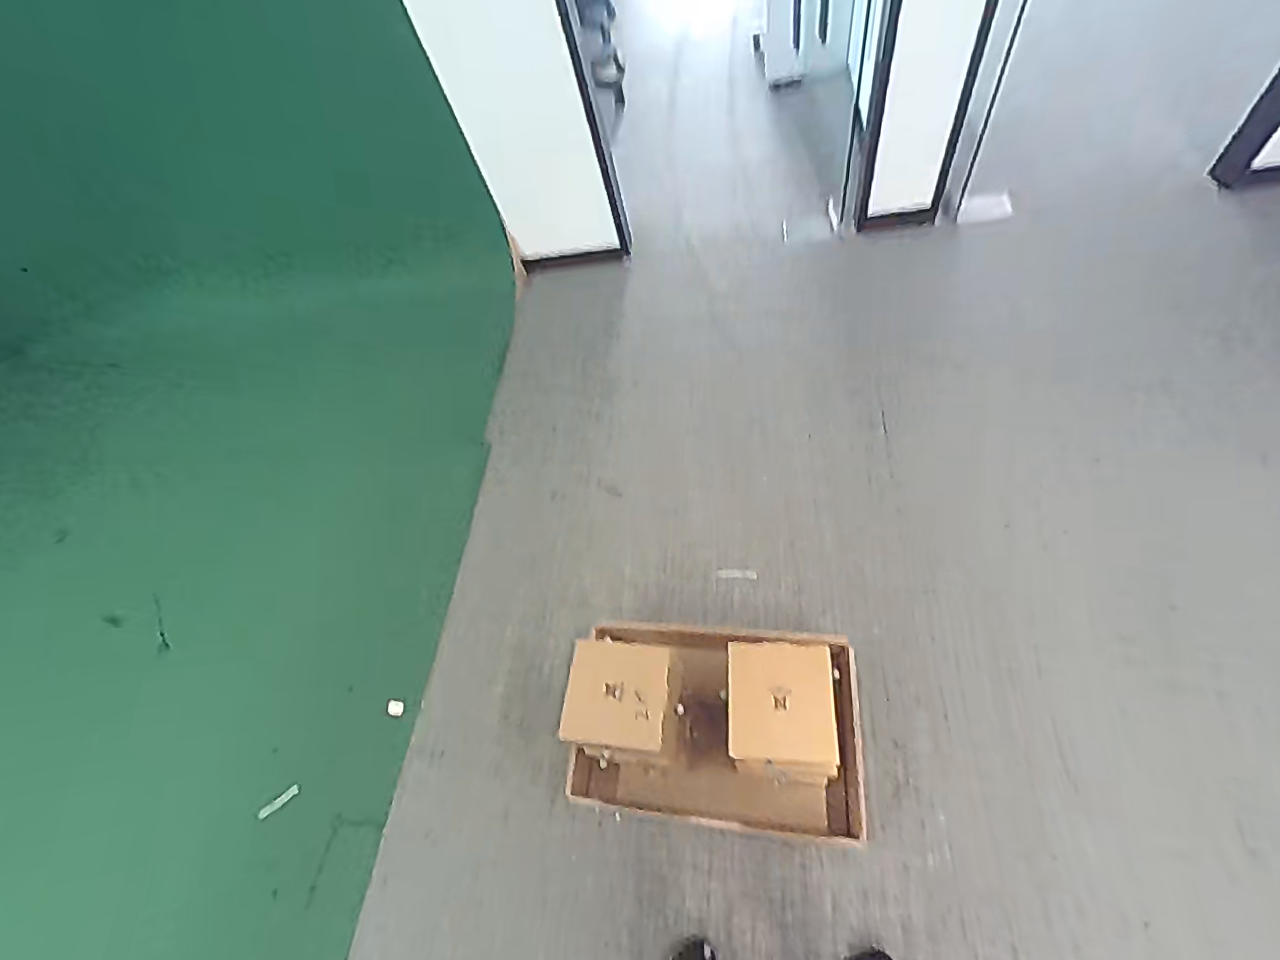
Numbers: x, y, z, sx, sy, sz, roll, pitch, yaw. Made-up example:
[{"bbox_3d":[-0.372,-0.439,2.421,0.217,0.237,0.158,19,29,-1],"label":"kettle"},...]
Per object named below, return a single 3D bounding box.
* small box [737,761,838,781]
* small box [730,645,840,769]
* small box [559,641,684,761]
[{"bbox_3d":[0.283,0.484,1.052,0.179,0.176,0.168,-2,61,13],"label":"small box"},{"bbox_3d":[0.244,0.391,0.925,0.168,0.176,0.179,-3,60,13],"label":"small box"},{"bbox_3d":[-0.024,0.402,0.976,0.179,0.176,0.168,2,59,13],"label":"small box"}]
